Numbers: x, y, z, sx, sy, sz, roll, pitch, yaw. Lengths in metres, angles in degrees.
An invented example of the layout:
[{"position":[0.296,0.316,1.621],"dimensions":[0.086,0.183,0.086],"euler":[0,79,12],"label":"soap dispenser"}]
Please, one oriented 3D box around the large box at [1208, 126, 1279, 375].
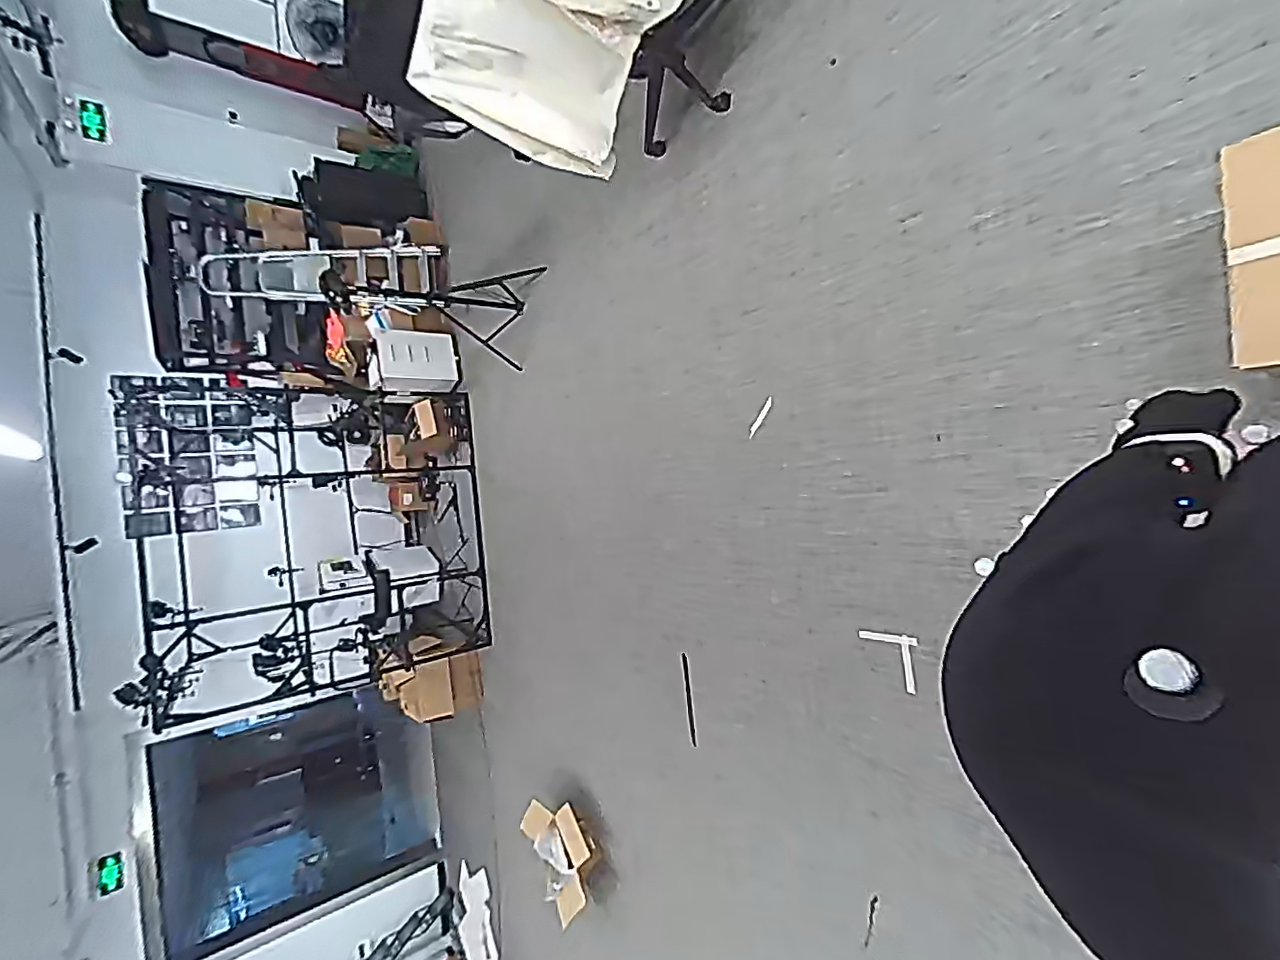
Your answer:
[{"position":[1.052,-0.331,0.689],"dimensions":[0.408,0.320,0.320],"euler":[-4,92,55],"label":"large box"}]
